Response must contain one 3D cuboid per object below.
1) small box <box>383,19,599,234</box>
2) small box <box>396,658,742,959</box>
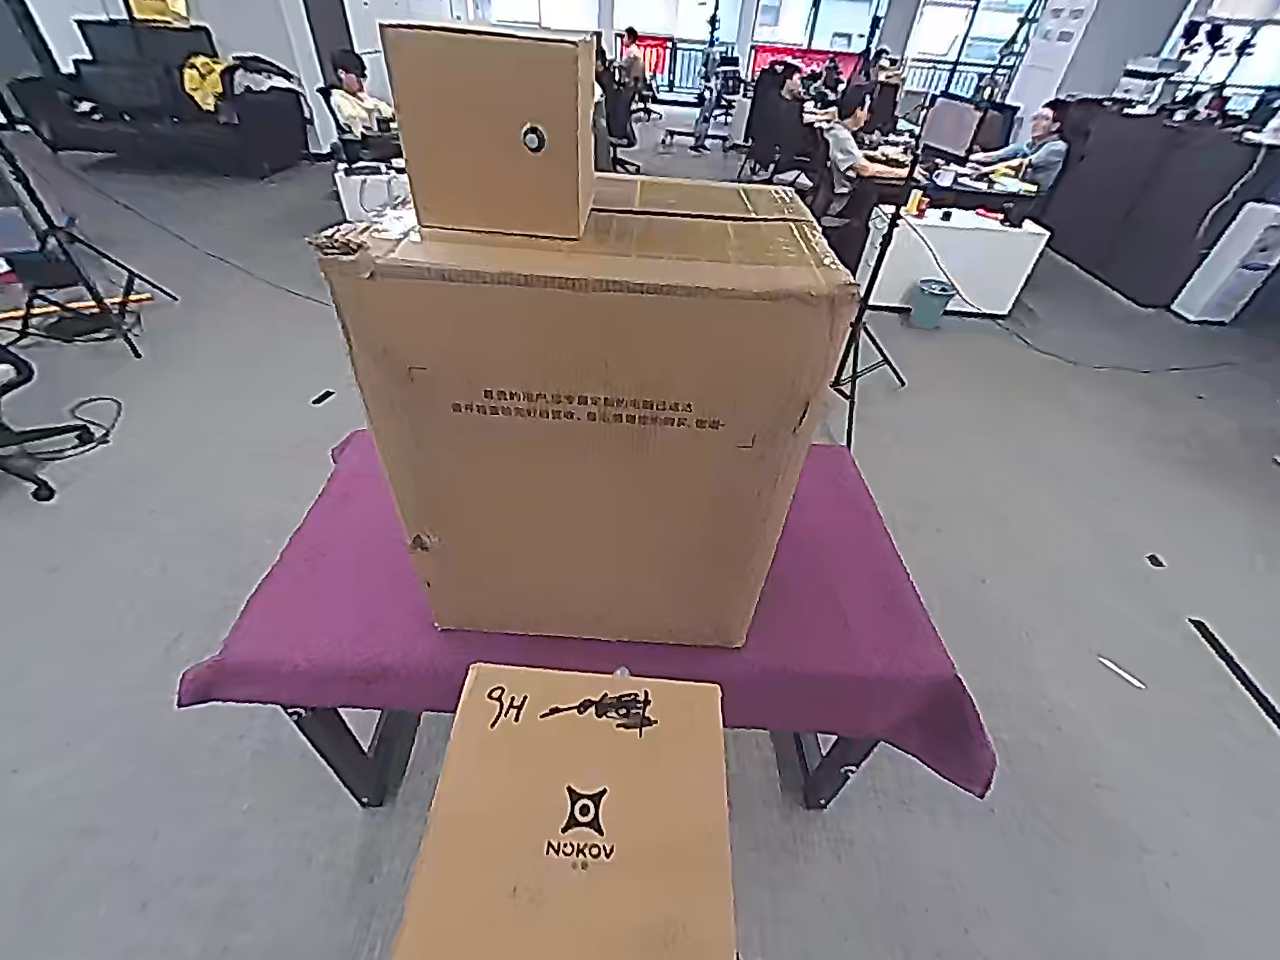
[{"bbox_3d":[-0.139,-0.375,0.579,0.179,0.176,0.168,3,40,-1],"label":"small box"},{"bbox_3d":[-0.036,0.238,0.350,0.168,0.176,0.179,6,48,-3],"label":"small box"}]
